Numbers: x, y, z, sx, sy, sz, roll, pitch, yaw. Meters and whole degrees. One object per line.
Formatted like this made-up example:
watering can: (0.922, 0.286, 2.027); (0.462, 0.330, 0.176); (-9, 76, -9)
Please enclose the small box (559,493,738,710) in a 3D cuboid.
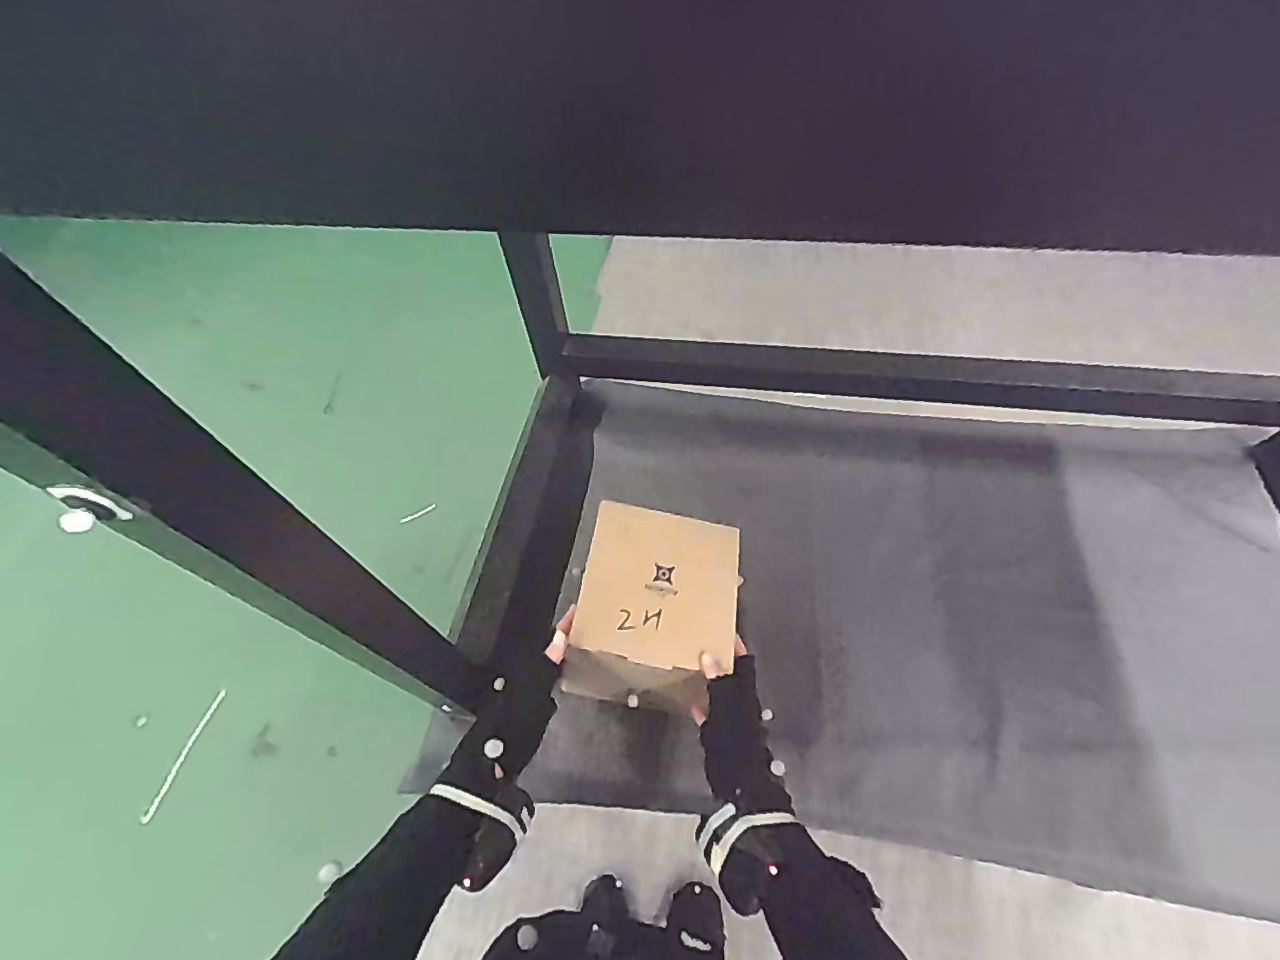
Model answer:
small box: (0.006, 0.147, 0.631); (0.168, 0.176, 0.179); (13, 54, -3)
